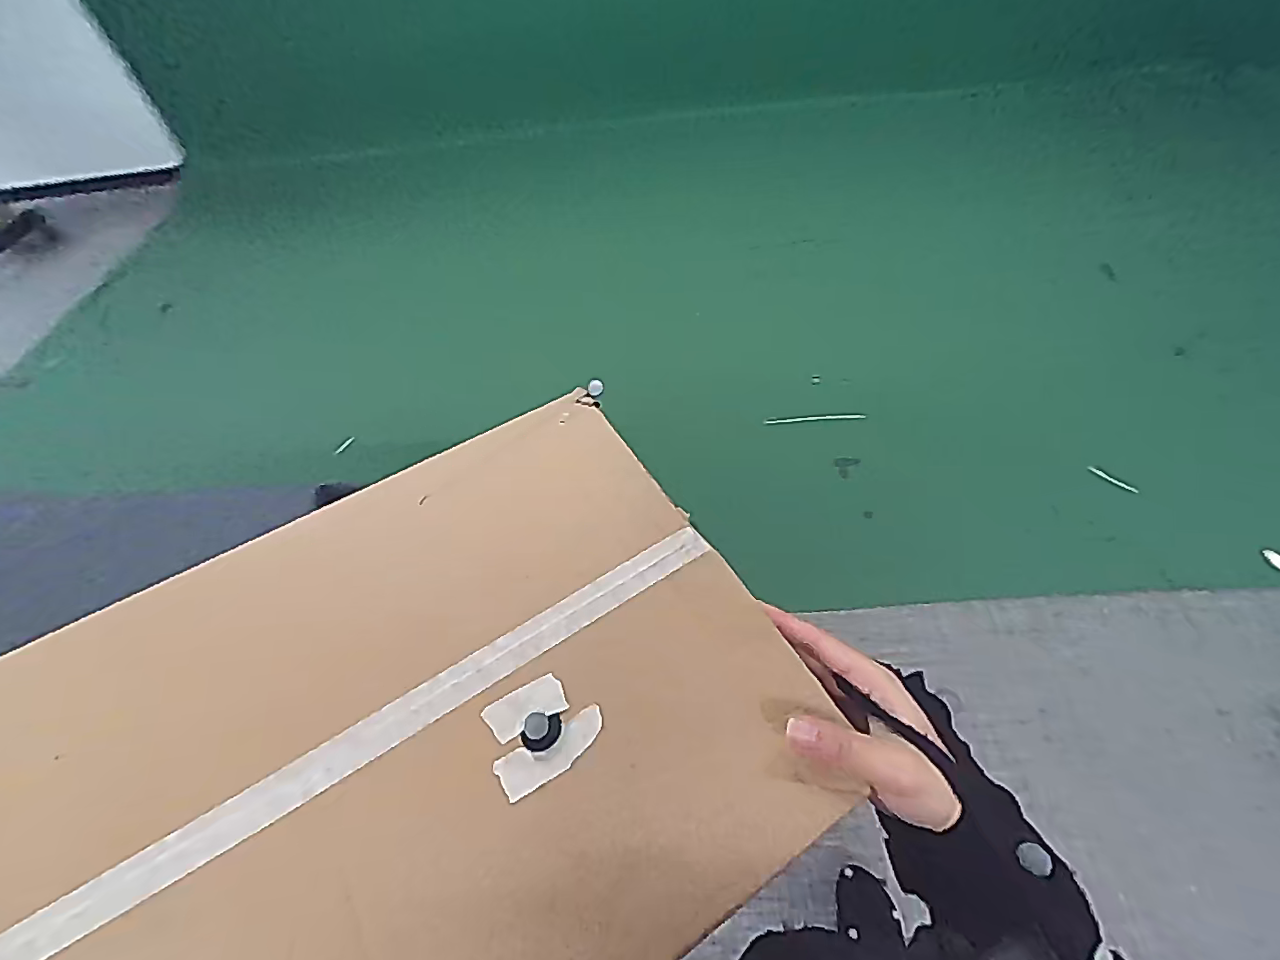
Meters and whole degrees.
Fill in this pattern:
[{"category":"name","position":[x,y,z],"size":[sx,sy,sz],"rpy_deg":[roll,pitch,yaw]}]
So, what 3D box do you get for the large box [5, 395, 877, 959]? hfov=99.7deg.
[{"category":"large box","position":[-0.117,0.208,0.423],"size":[0.408,0.320,0.320],"rpy_deg":[-27,61,-17]}]
